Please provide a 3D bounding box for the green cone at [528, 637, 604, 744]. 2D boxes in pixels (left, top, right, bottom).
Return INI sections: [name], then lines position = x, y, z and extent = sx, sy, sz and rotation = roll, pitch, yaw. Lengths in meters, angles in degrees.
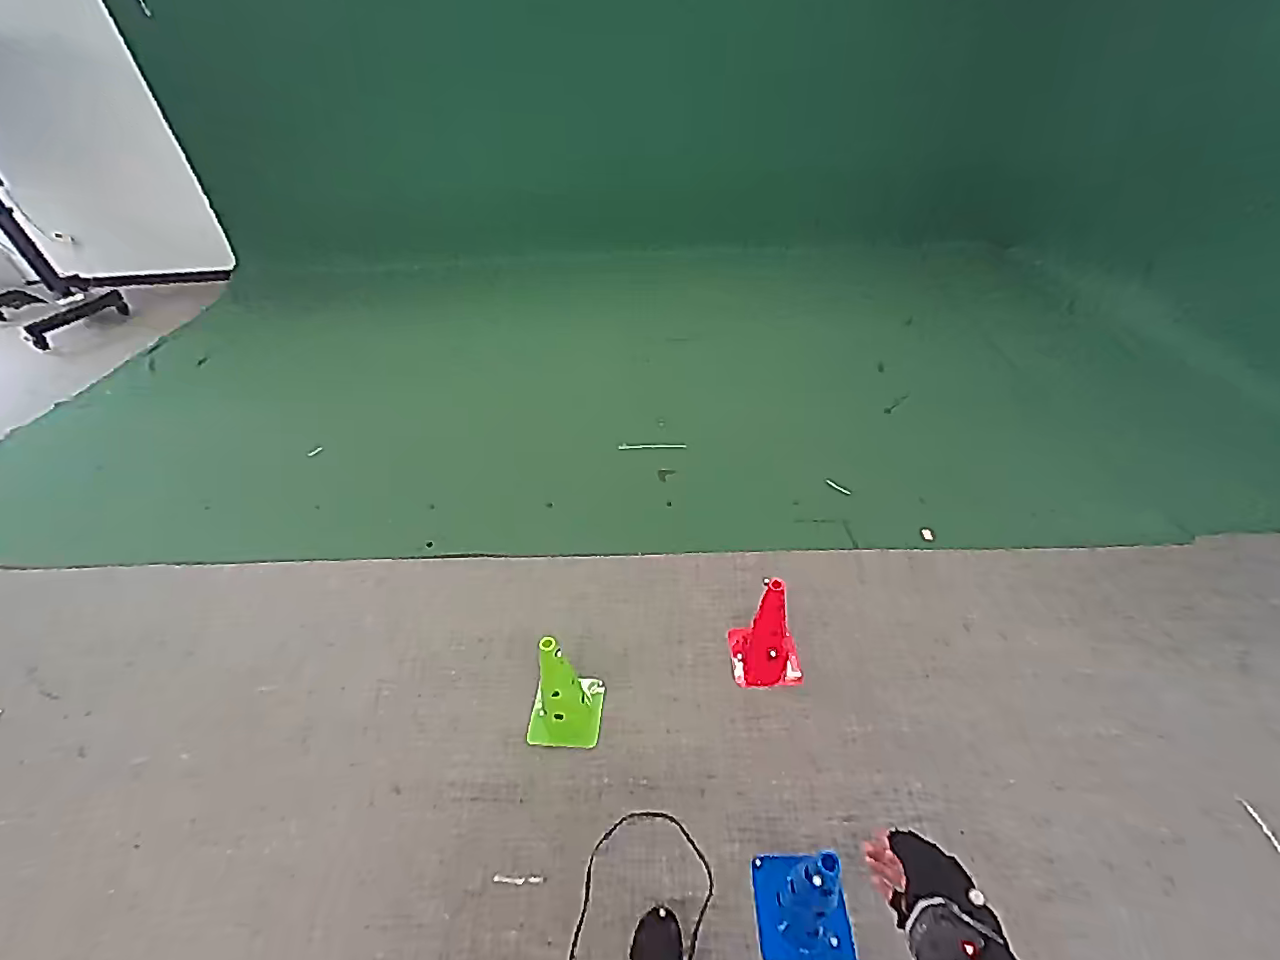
[green cone]
position = -0.220, 0.530, 1.445
extent = 0.200, 0.368, 0.202
rotation = 0, 42, 5
